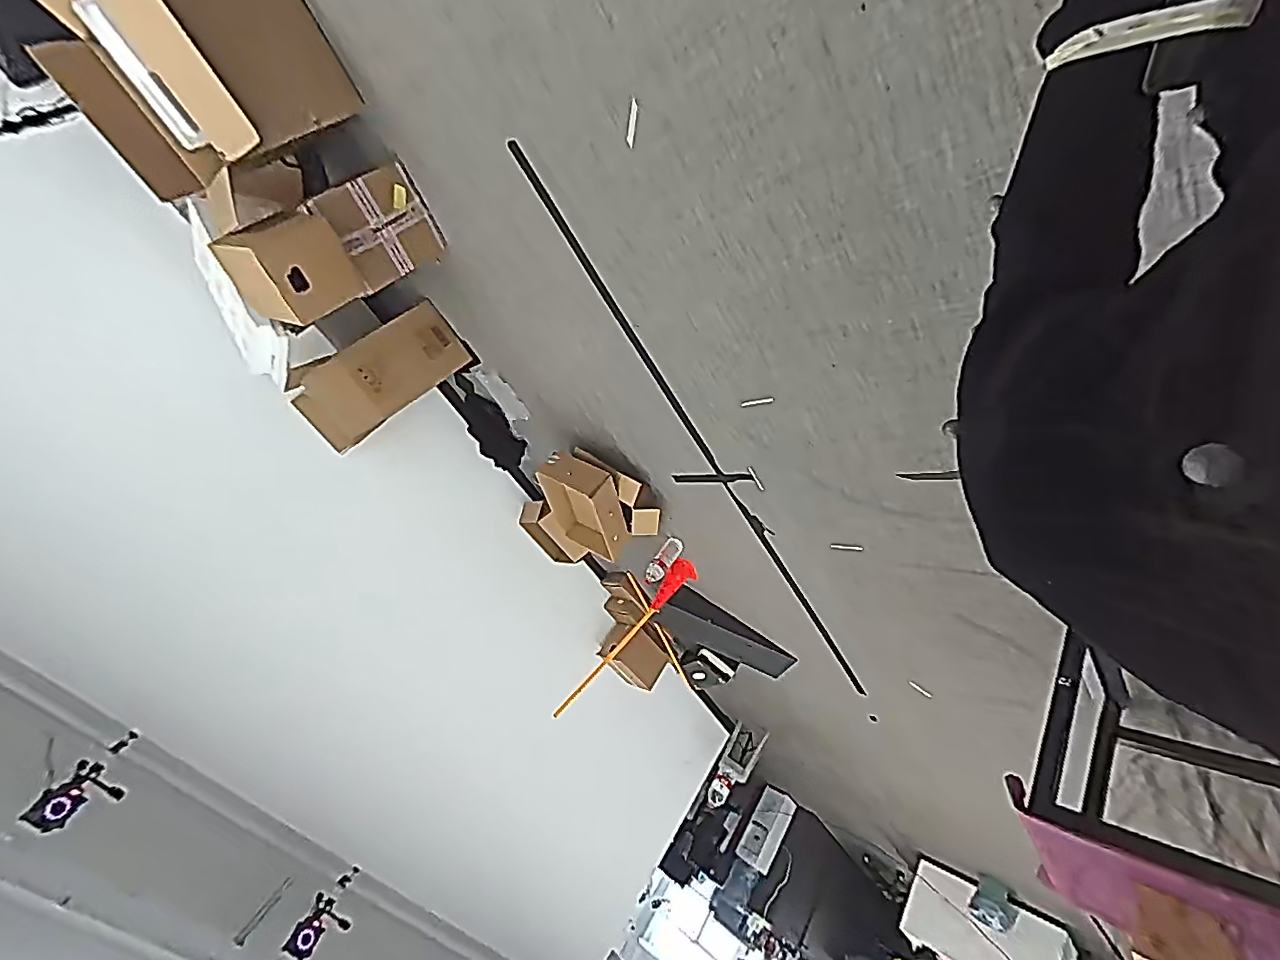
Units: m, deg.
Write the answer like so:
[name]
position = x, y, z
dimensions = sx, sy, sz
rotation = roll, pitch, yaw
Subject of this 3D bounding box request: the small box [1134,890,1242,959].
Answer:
[small box]
position = 1.369, 1.170, 1.349
dimensions = 0.179, 0.176, 0.168
rotation = -1, 133, 50
